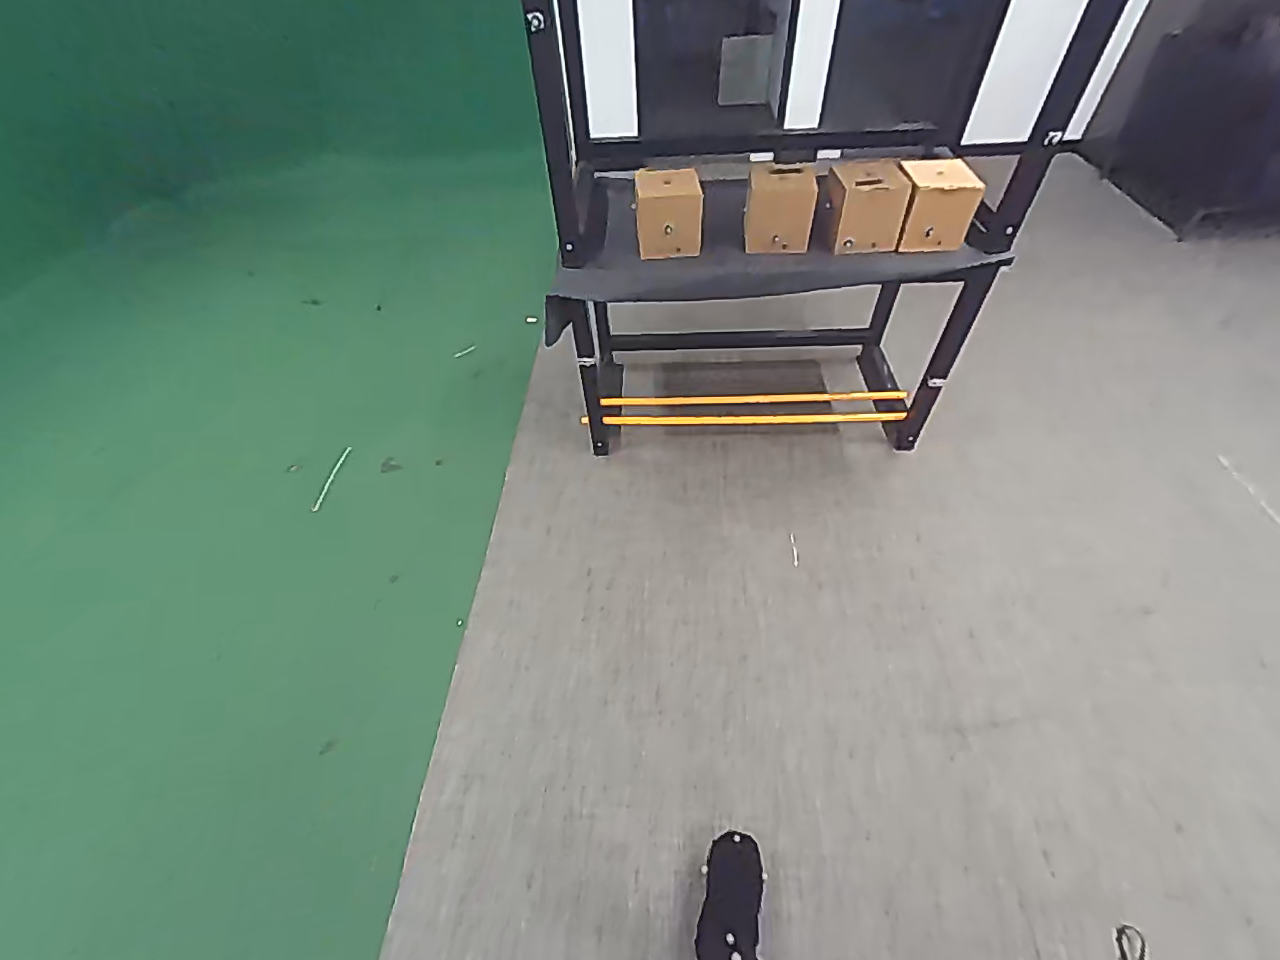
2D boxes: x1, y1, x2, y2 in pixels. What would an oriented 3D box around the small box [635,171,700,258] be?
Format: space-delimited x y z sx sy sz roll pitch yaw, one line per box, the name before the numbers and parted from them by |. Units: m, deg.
small box | 0.075 -0.728 1.493 0.168 0.176 0.179 -4 48 -1
